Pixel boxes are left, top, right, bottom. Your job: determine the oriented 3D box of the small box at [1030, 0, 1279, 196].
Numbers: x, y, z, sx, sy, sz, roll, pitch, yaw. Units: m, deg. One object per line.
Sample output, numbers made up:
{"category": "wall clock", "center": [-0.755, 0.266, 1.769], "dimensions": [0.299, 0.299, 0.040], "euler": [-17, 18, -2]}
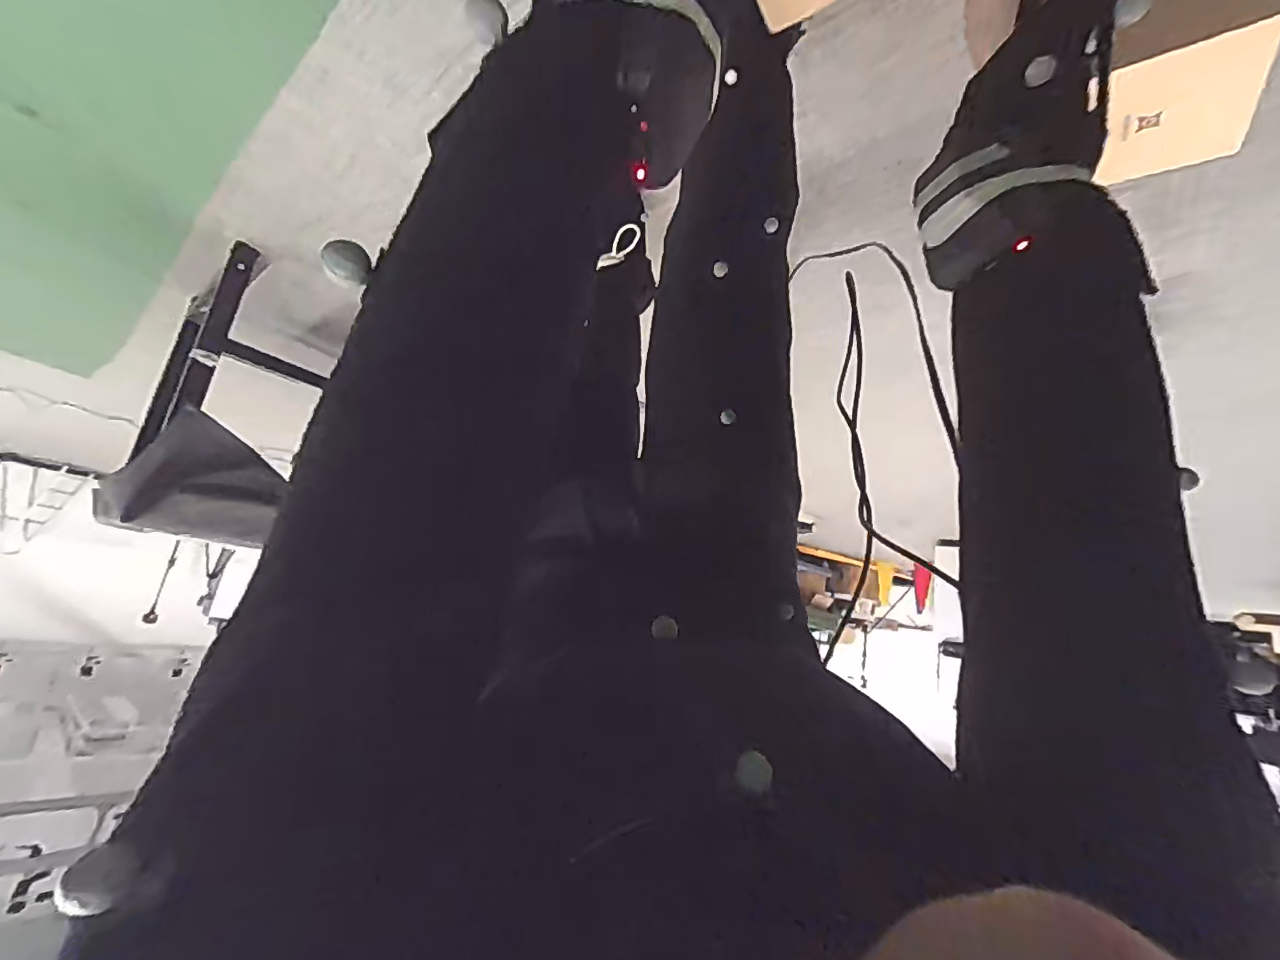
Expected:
{"category": "small box", "center": [0.543, -0.464, 0.597], "dimensions": [0.179, 0.176, 0.168], "euler": [-1, 163, 37]}
